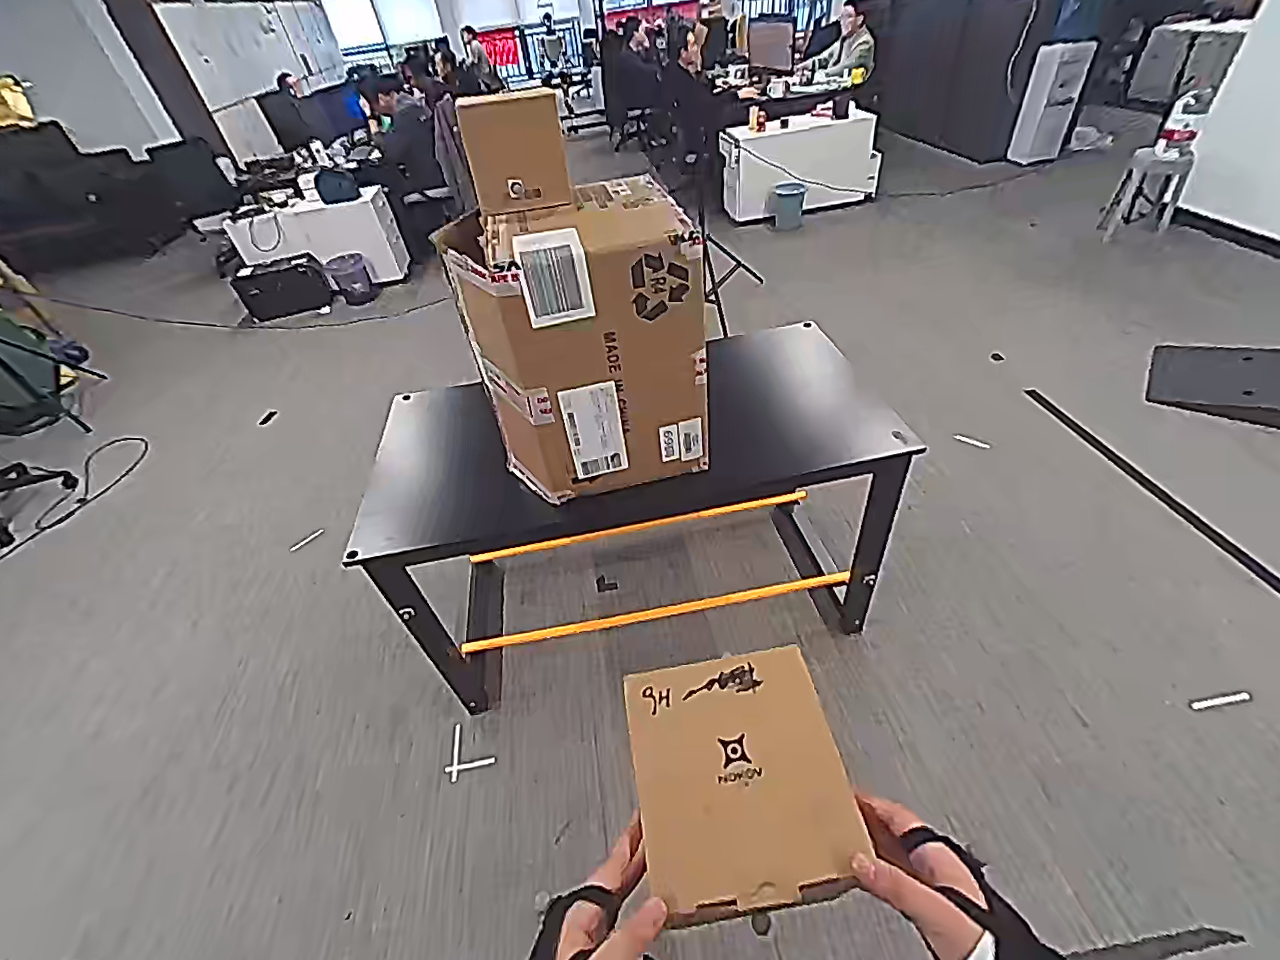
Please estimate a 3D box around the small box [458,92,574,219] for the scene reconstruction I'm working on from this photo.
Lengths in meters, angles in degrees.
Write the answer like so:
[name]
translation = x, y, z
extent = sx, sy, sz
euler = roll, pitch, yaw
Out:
[small box]
translation = -0.223, -0.591, 0.984
extent = 0.168, 0.176, 0.179
euler = -14, 40, -7
